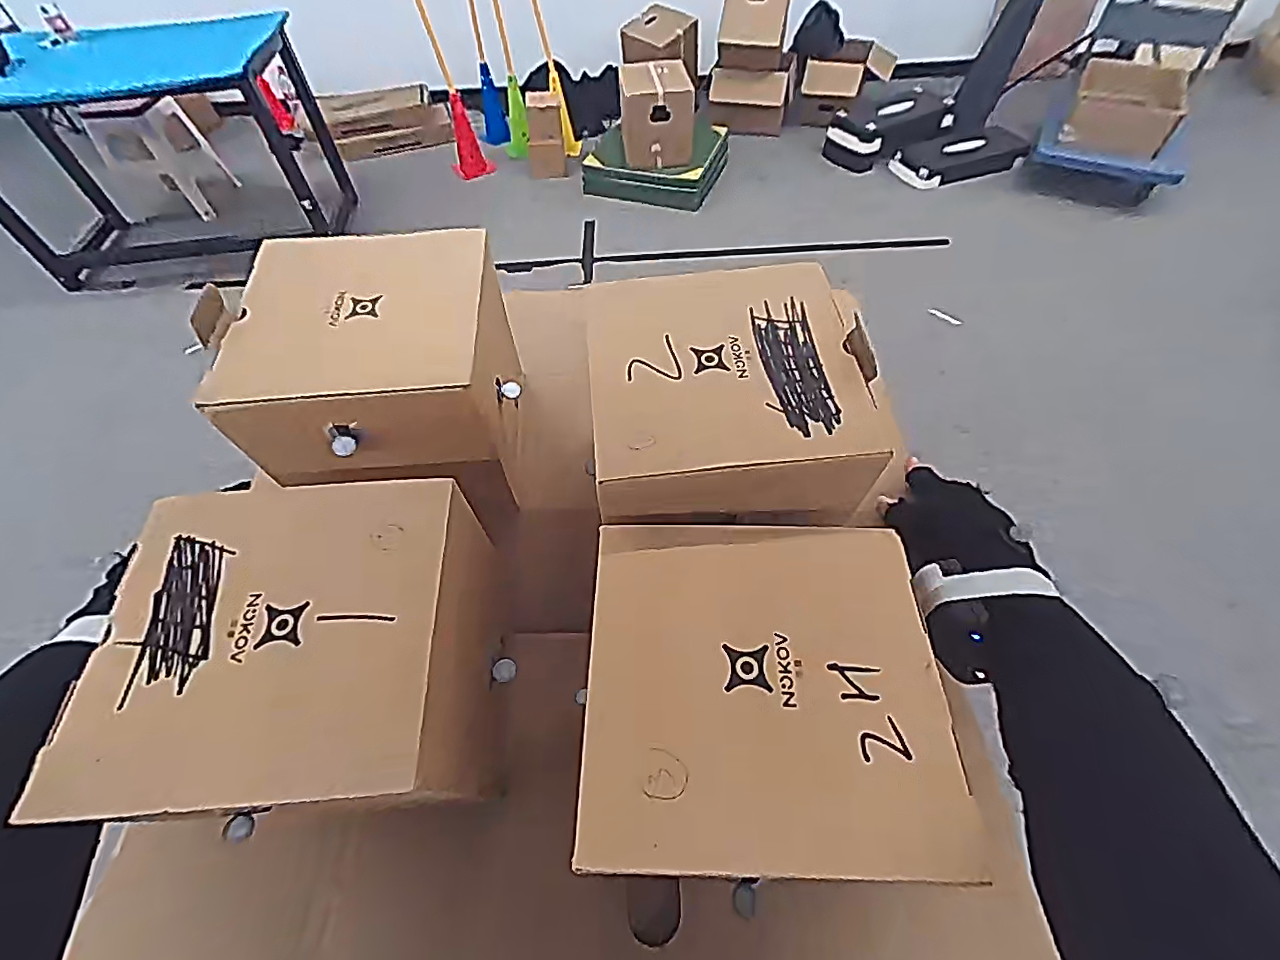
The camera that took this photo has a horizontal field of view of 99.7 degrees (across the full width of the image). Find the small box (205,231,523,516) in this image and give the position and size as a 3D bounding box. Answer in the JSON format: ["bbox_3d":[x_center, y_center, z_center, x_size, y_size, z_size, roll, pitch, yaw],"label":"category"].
[{"bbox_3d":[-0.201,-0.082,0.460,0.179,0.176,0.168,-5,58,-1],"label":"small box"}]
